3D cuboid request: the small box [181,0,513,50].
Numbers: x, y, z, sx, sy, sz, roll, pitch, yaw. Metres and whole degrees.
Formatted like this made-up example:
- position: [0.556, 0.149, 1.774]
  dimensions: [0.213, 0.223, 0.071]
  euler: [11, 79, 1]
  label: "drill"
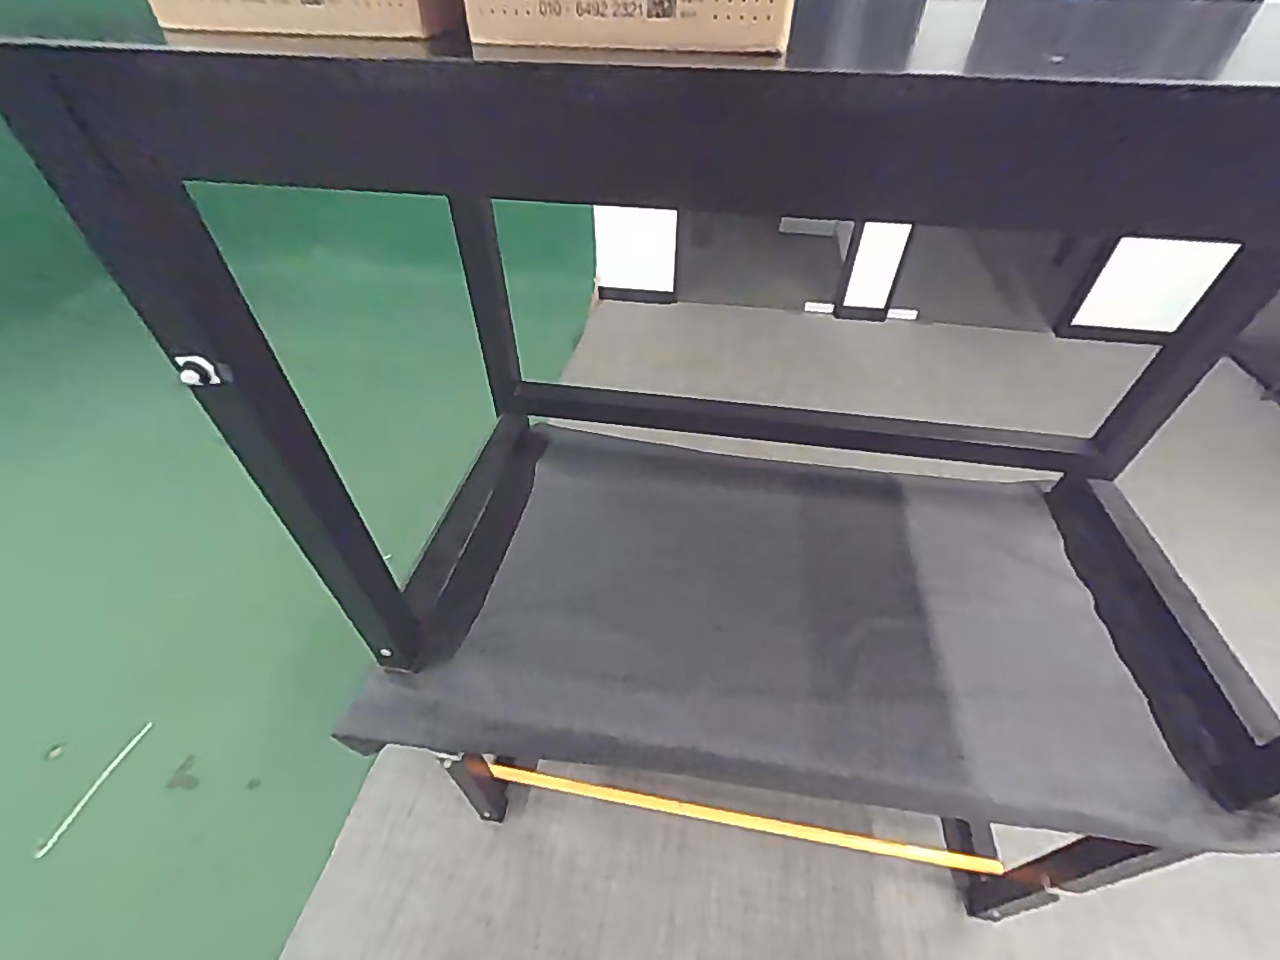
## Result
- position: [-0.185, -0.370, 0.320]
  dimensions: [0.168, 0.176, 0.179]
  euler: [8, 44, 6]
  label: "small box"
